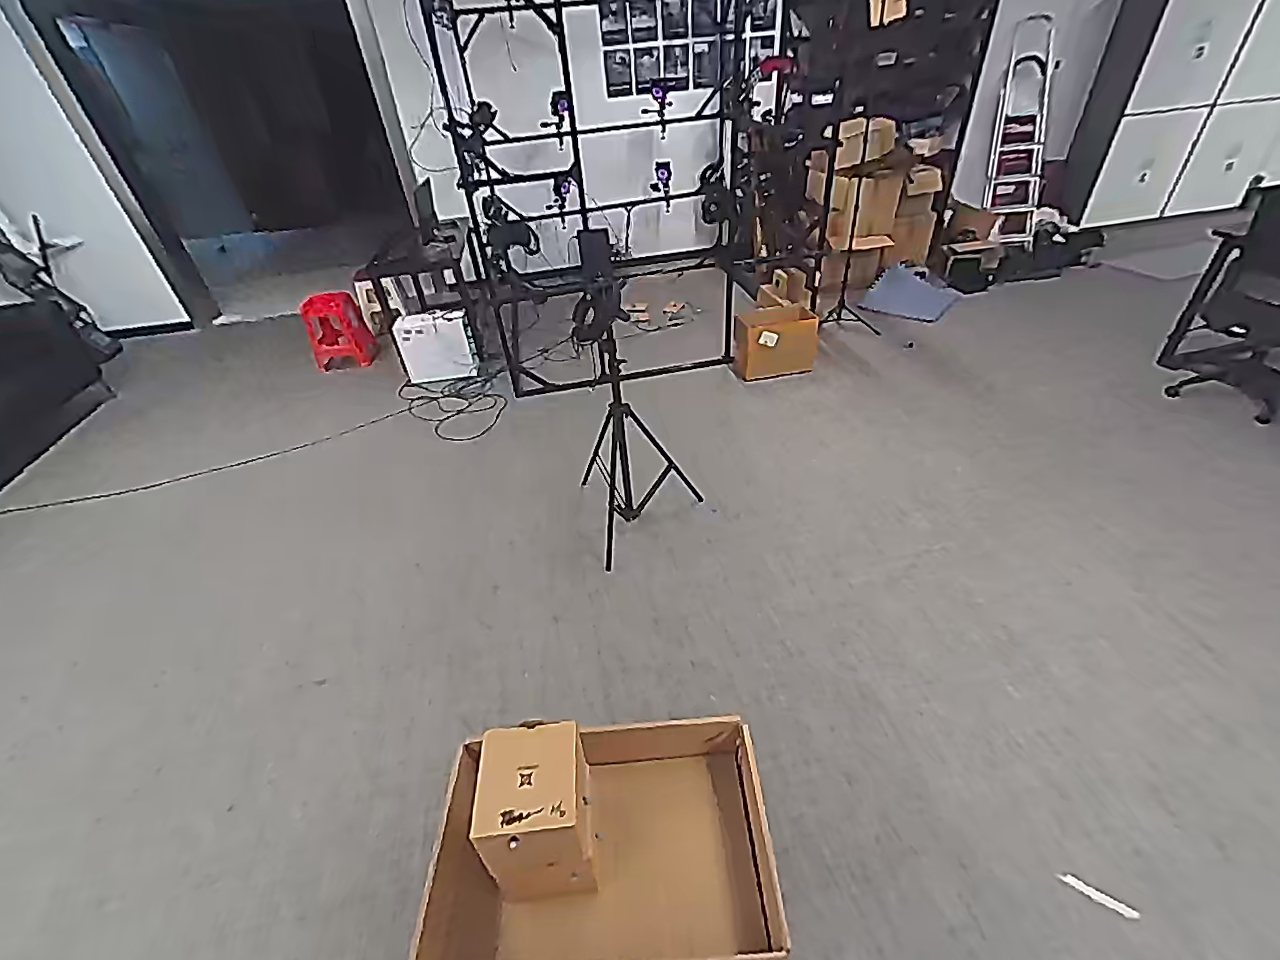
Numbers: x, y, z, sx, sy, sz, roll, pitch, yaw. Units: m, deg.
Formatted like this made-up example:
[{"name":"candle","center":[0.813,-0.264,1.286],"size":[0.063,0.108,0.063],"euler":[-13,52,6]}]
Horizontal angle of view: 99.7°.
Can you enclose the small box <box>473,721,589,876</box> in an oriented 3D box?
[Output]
[{"name":"small box","center":[-0.180,0.554,0.946],"size":[0.168,0.176,0.179],"euler":[-5,37,-2]}]
